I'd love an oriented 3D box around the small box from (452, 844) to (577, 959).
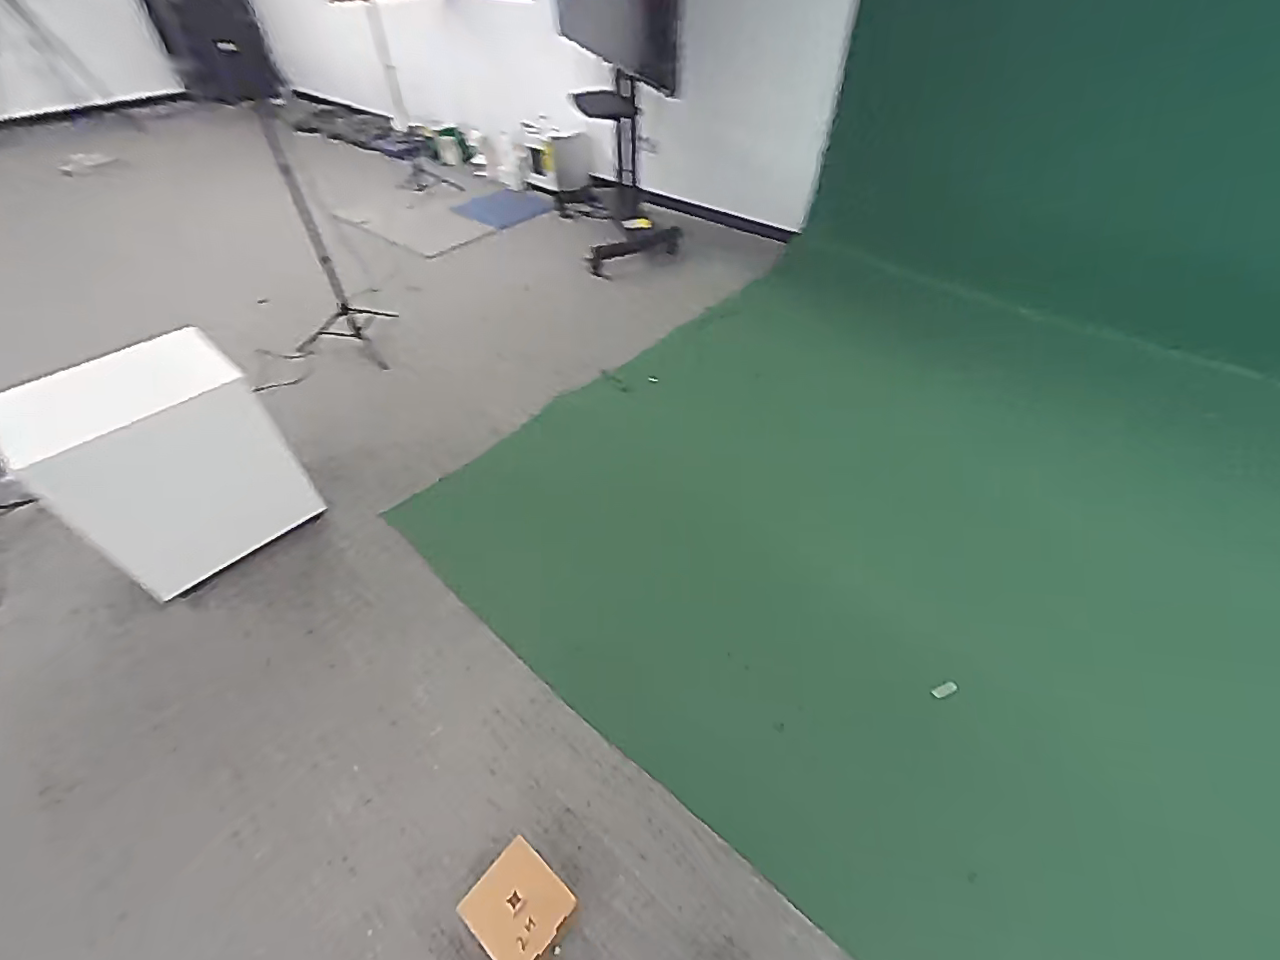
[{"bbox_3d":[-0.247,0.895,1.099,0.179,0.176,0.168,32,53,27],"label":"small box"}]
